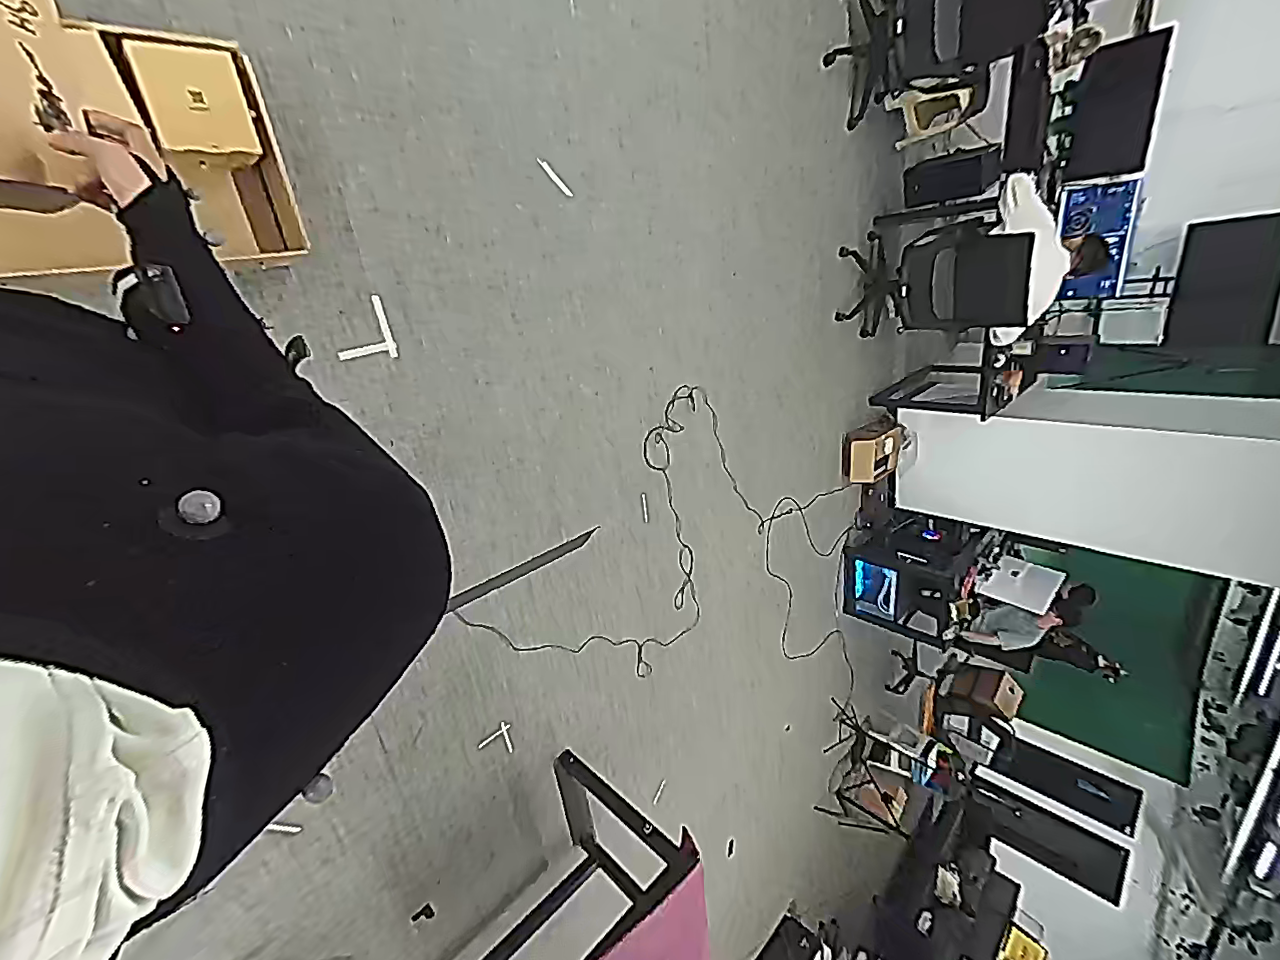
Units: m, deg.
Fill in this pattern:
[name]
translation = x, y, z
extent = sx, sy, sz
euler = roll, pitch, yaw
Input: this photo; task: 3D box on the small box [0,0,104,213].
[small box]
translation = -0.627, -0.340, 0.470
extent = 0.179, 0.176, 0.168
euler = -24, 118, -53
